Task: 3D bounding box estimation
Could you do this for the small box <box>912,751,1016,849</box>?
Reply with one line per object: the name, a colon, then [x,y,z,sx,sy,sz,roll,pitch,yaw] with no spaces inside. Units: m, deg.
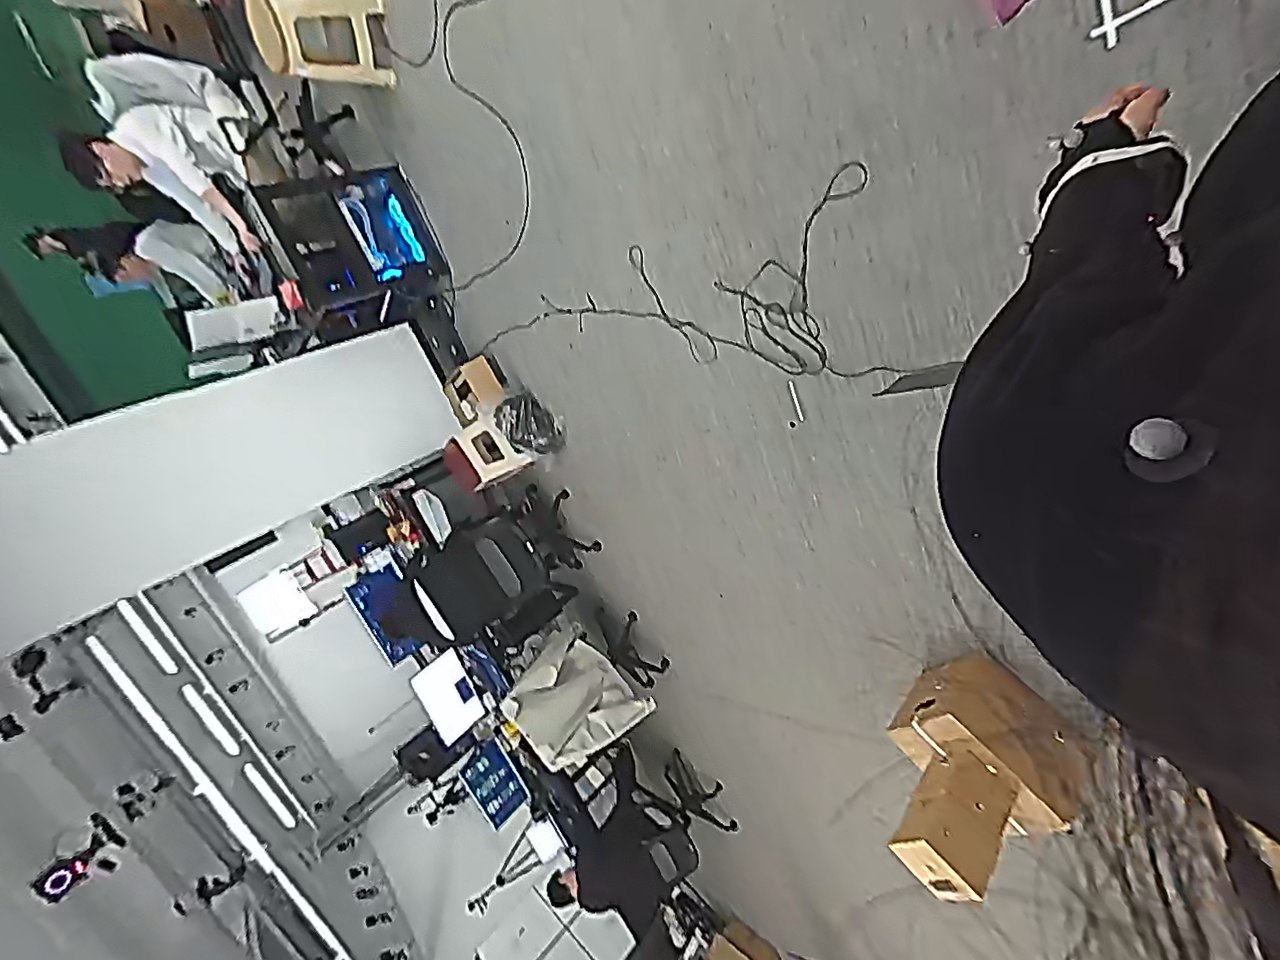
small box: [0.950,0.934,1.581,0.179,0.176,0.168,45,143,19]
